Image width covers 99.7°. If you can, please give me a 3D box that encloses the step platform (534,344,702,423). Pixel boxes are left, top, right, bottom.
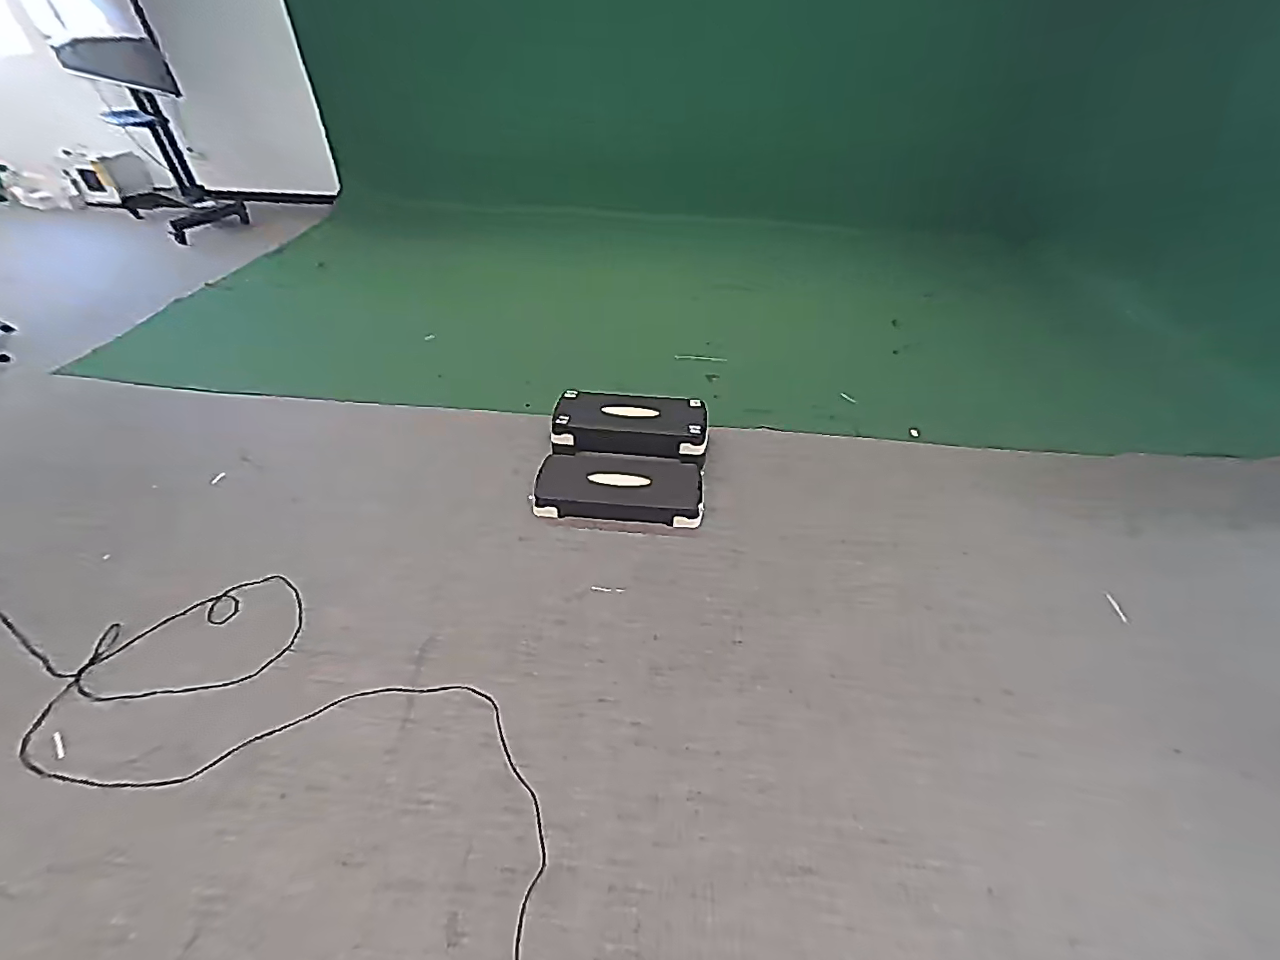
[{"bbox_3d":[-0.086,-0.407,2.280,0.684,0.204,0.286,4,42,3],"label":"step platform"}]
